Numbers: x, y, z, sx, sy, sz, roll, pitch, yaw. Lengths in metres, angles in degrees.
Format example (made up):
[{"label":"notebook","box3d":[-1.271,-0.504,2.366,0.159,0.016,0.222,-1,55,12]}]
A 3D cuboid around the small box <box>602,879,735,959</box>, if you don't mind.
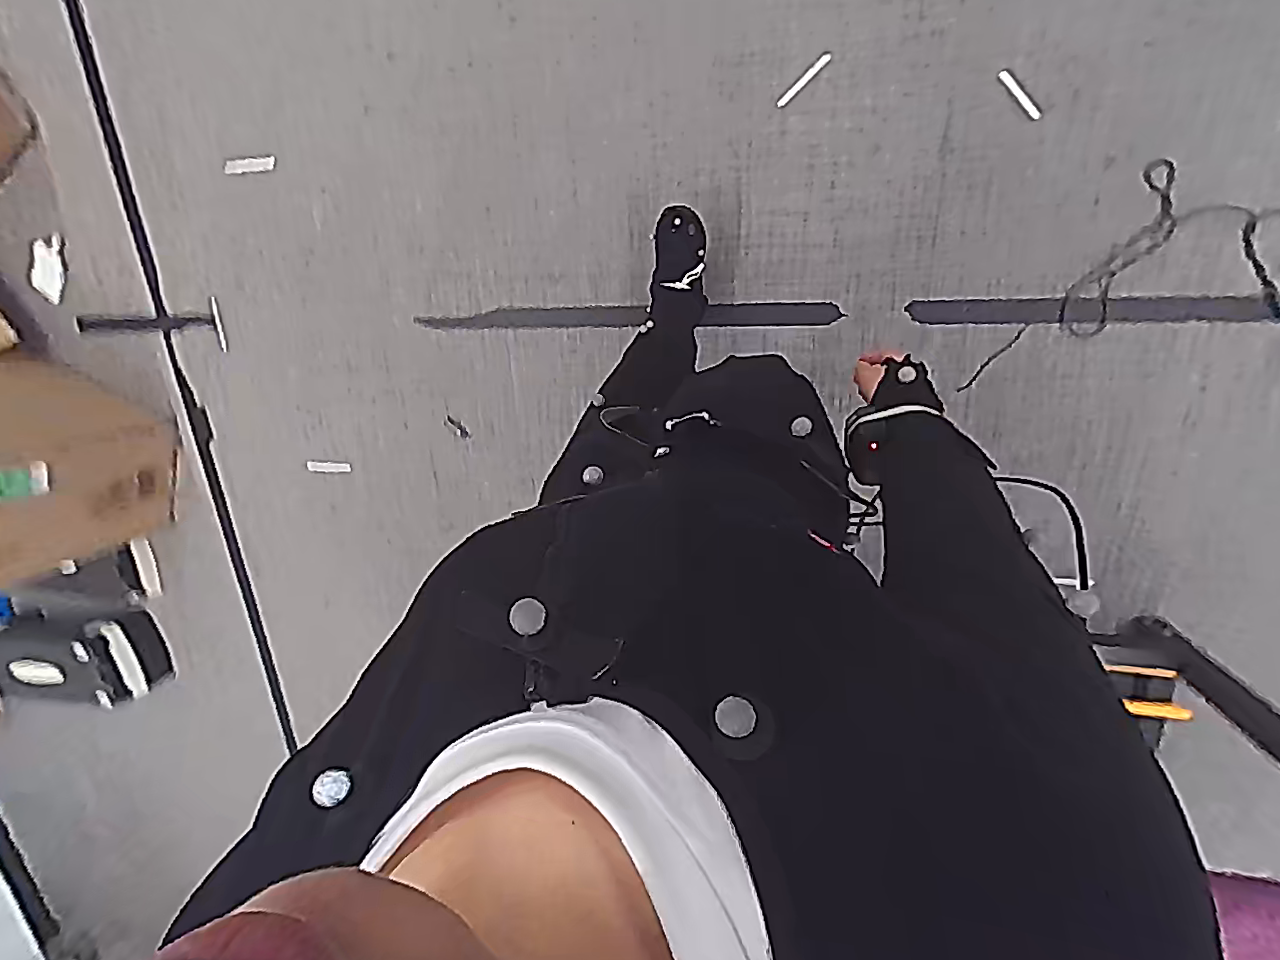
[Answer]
[{"label":"small box","box3d":[0.037,0.694,0.741,0.179,0.176,0.168,4,109,12]}]
